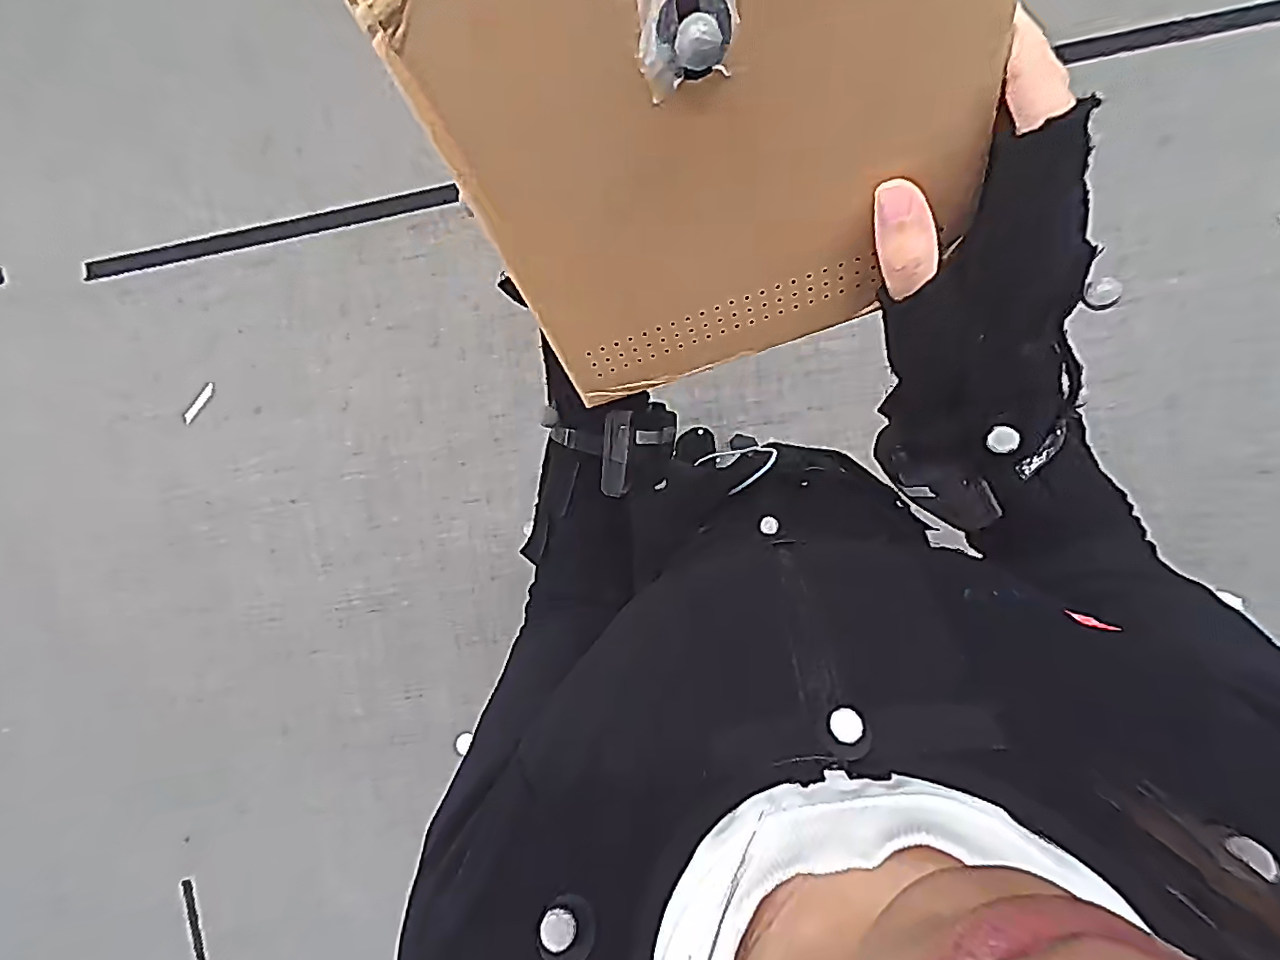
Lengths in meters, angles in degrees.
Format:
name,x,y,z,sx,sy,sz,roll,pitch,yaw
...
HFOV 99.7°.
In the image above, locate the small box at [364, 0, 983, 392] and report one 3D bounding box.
name,x,y,z,sx,sy,sz,roll,pitch,yaw
small box,0.024,-0.165,0.236,0.179,0.176,0.168,-17,53,10
